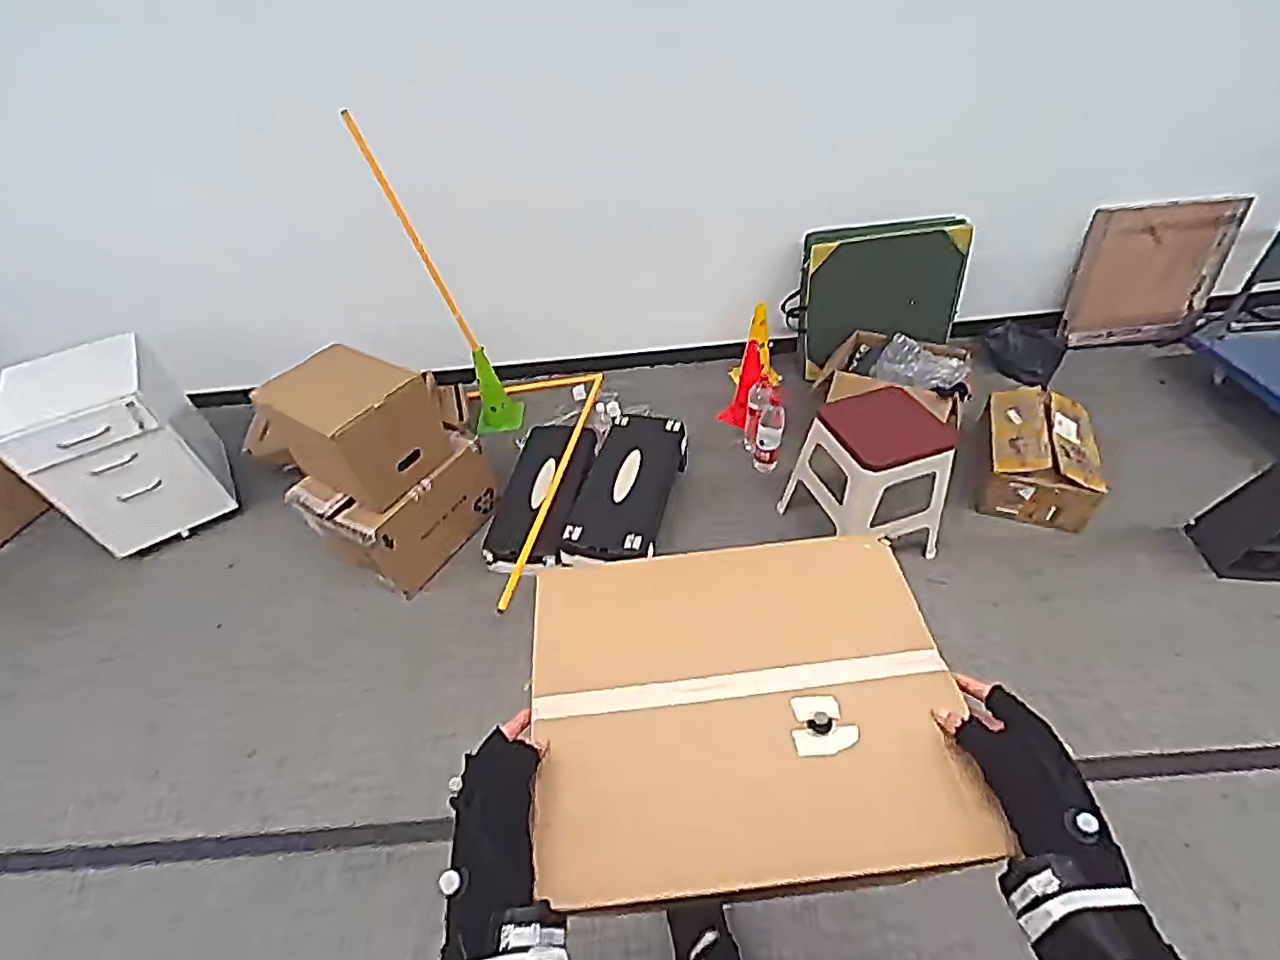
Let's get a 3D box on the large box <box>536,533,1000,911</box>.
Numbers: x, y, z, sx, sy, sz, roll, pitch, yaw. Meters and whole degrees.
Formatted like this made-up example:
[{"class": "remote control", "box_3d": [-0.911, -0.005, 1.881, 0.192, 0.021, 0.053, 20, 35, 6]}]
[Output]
[{"class": "large box", "box_3d": [0.103, 0.299, 0.659, 0.408, 0.320, 0.320, -7, 50, 0]}]
